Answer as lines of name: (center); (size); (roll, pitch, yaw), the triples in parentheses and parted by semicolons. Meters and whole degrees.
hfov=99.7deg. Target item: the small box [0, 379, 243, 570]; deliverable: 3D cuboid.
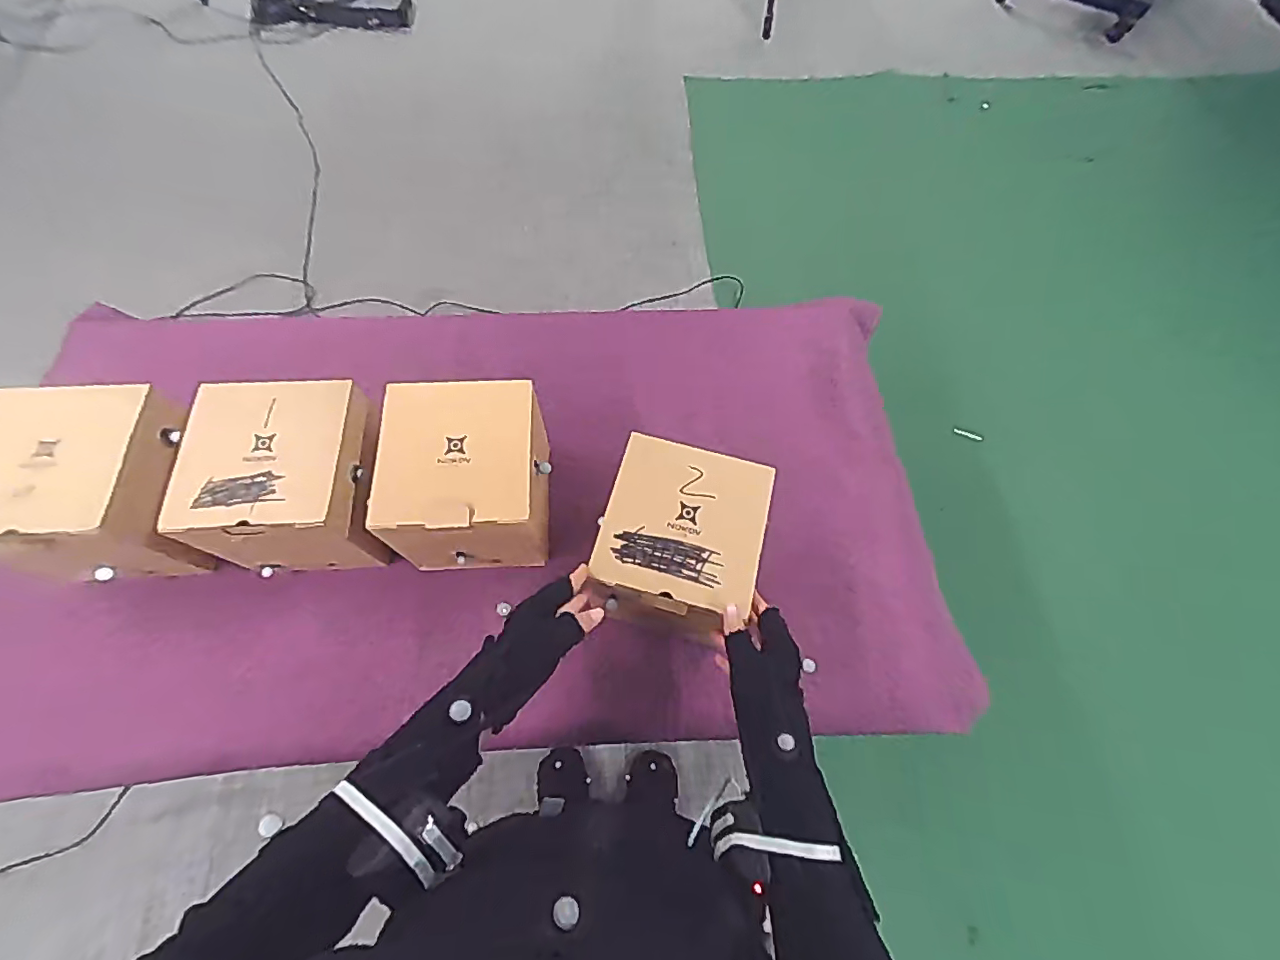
small box: (-0.617, -0.001, 0.641); (0.168, 0.176, 0.179); (-2, 67, -3)

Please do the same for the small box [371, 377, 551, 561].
small box: (-0.203, -0.008, 0.665); (0.168, 0.176, 0.179); (-2, 68, -3)
